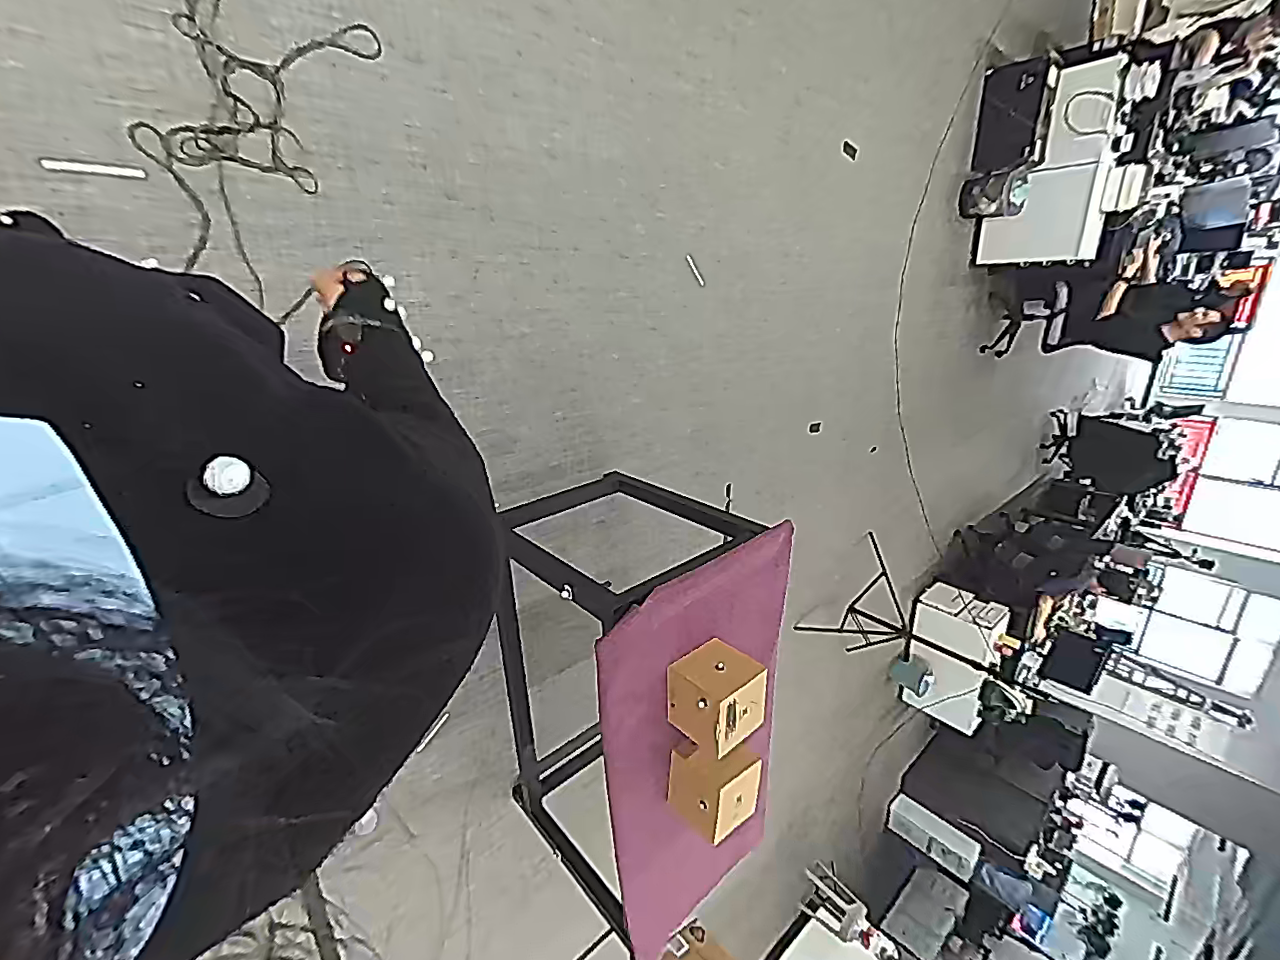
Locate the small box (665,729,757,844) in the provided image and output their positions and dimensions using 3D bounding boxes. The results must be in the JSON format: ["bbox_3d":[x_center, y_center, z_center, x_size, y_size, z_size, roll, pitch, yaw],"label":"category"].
[{"bbox_3d":[0.181,0.783,1.408,0.168,0.176,0.179,-8,110,-41],"label":"small box"}]
